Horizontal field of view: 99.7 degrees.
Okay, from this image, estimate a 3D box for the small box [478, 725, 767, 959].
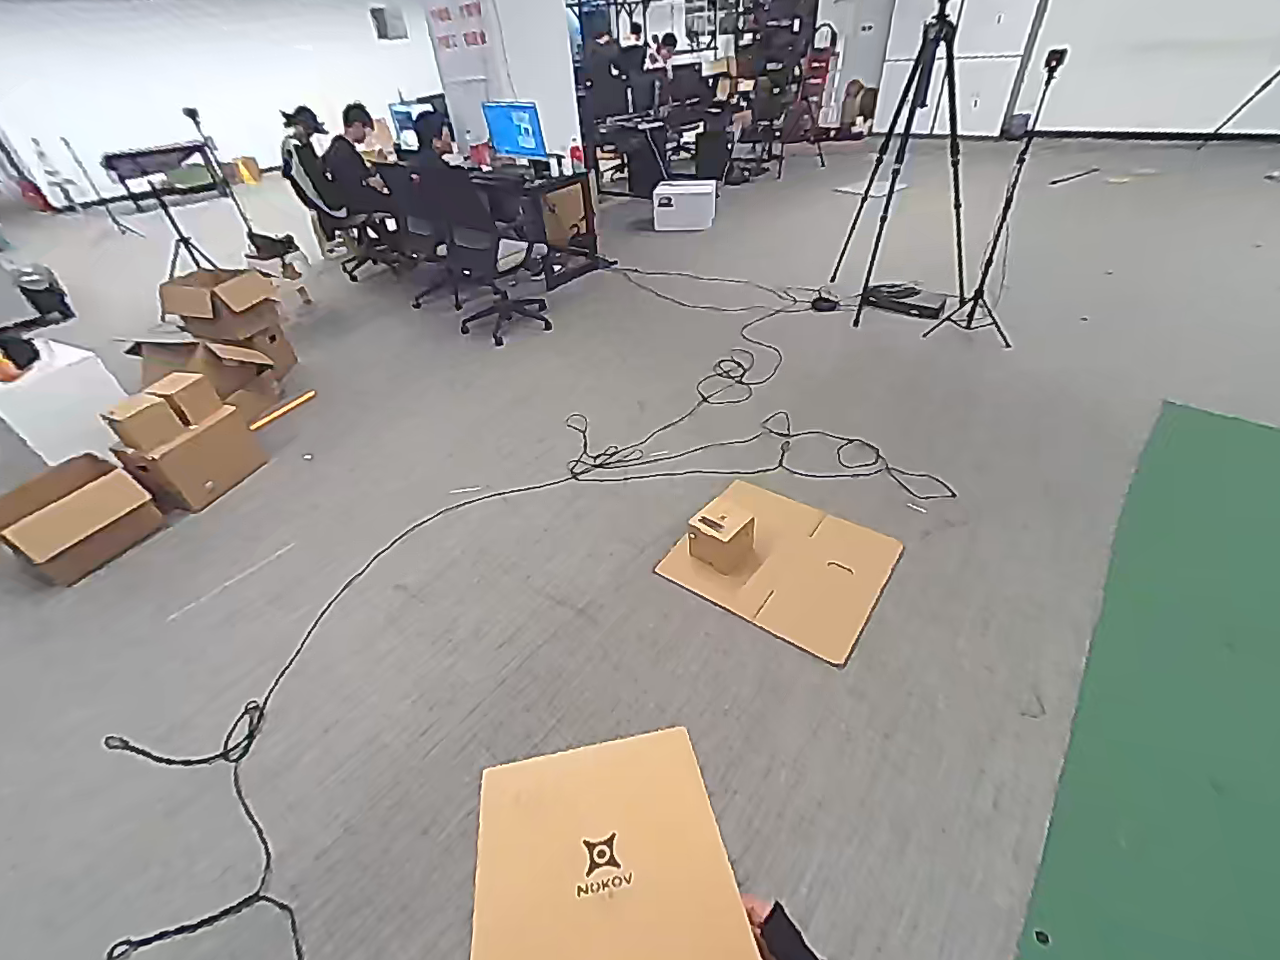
[{"bbox_3d":[-0.019,0.320,0.395,0.168,0.176,0.179,-8,28,-9],"label":"small box"}]
